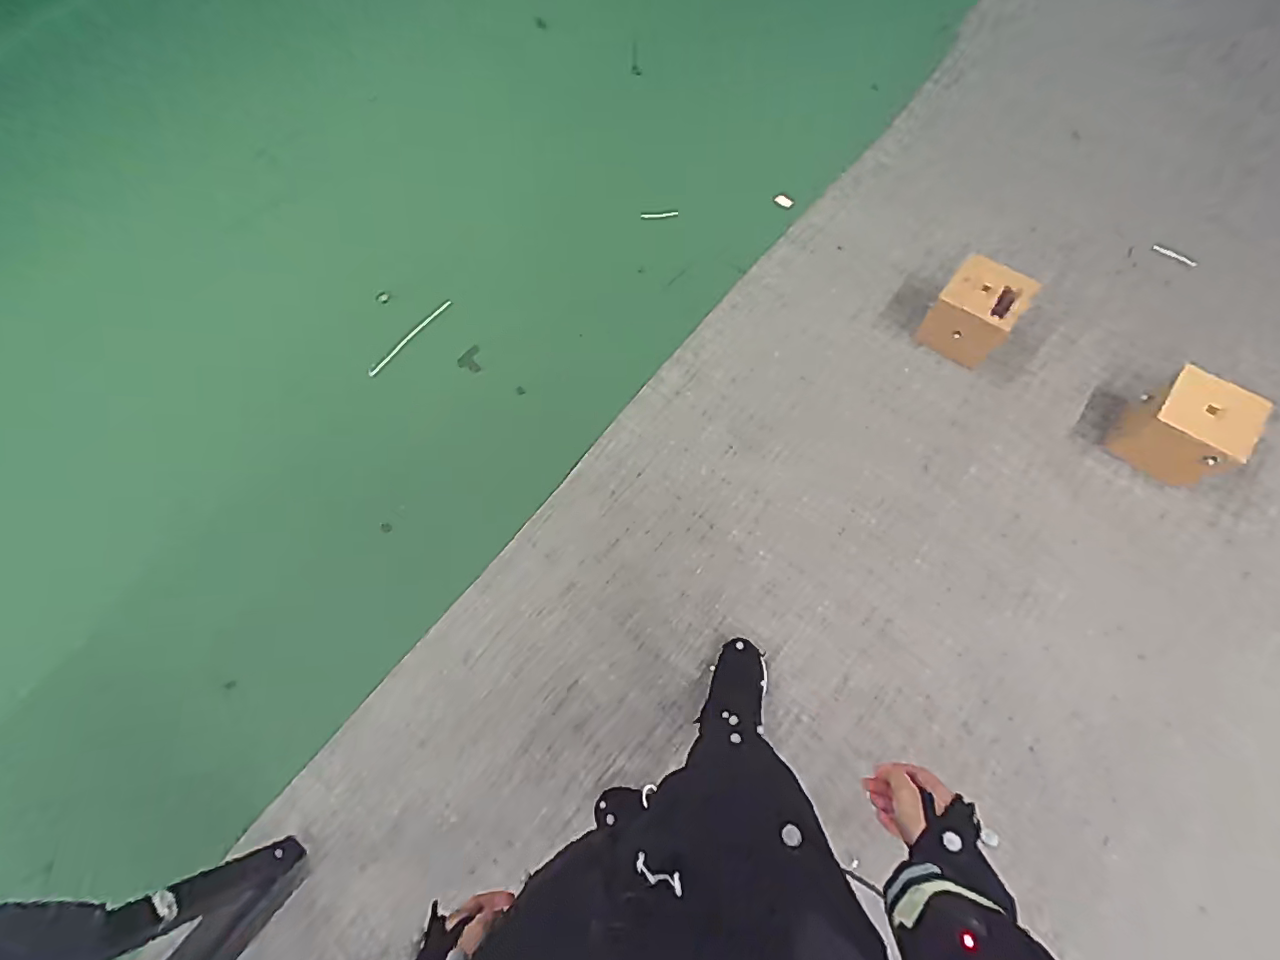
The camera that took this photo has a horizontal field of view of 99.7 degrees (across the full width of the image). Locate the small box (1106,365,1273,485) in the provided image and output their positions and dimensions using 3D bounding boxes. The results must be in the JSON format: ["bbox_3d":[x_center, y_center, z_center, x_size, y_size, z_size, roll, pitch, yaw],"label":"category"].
[{"bbox_3d":[1.196,-0.114,1.193,0.179,0.176,0.168,34,77,15],"label":"small box"}]
